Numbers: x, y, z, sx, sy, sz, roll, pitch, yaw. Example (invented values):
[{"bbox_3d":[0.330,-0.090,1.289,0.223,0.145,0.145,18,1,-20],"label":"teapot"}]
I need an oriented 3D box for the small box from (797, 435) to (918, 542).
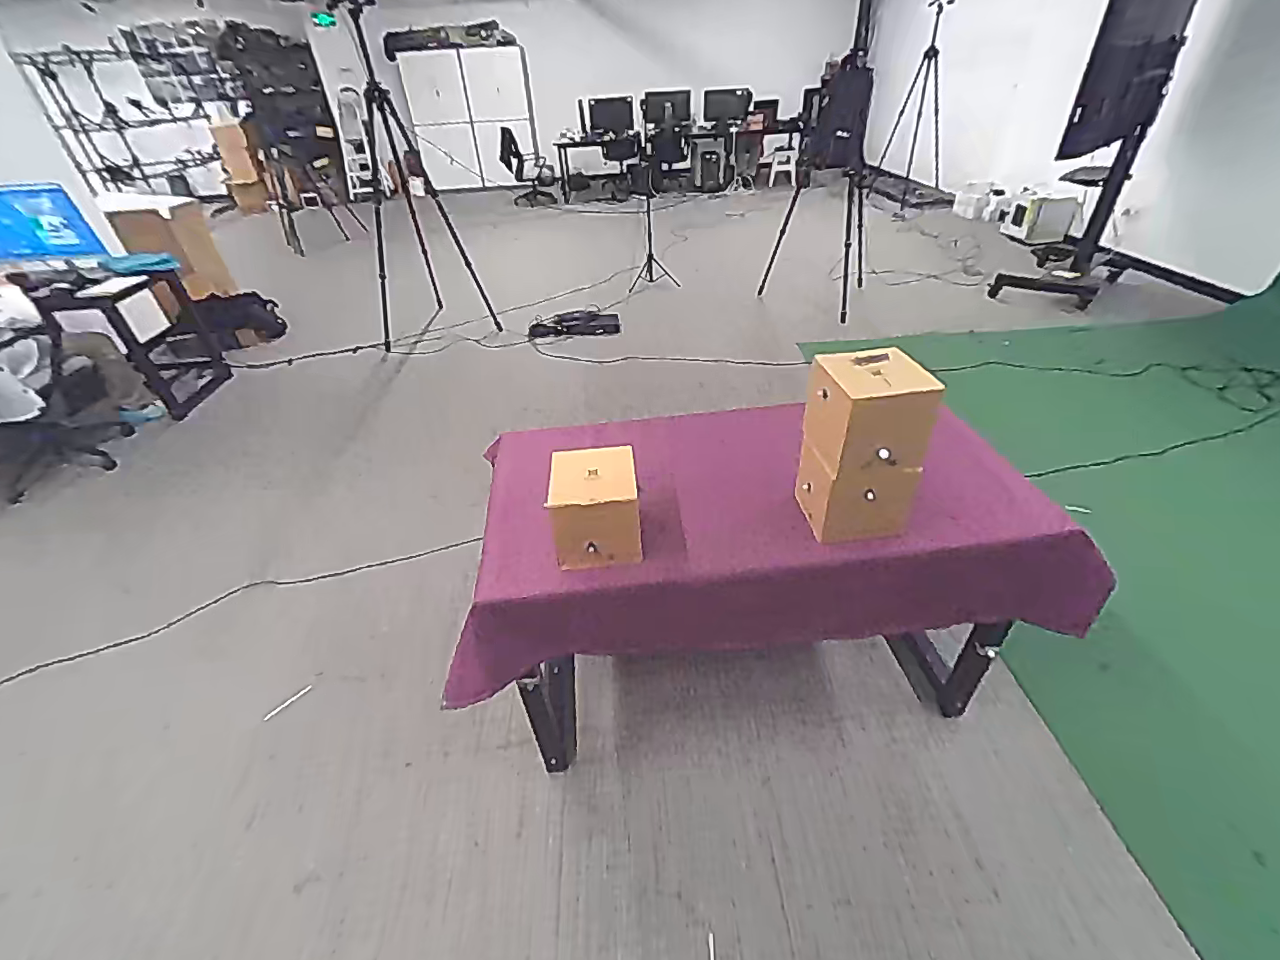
[{"bbox_3d":[0.430,0.012,1.105,0.179,0.176,0.168,-5,37,-1],"label":"small box"}]

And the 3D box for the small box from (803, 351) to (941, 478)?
[{"bbox_3d":[0.419,-0.125,1.013,0.168,0.176,0.179,-7,37,-3],"label":"small box"}]

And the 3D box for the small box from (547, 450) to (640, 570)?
[{"bbox_3d":[-0.090,0.059,1.094,0.168,0.176,0.179,-5,37,-2],"label":"small box"}]
